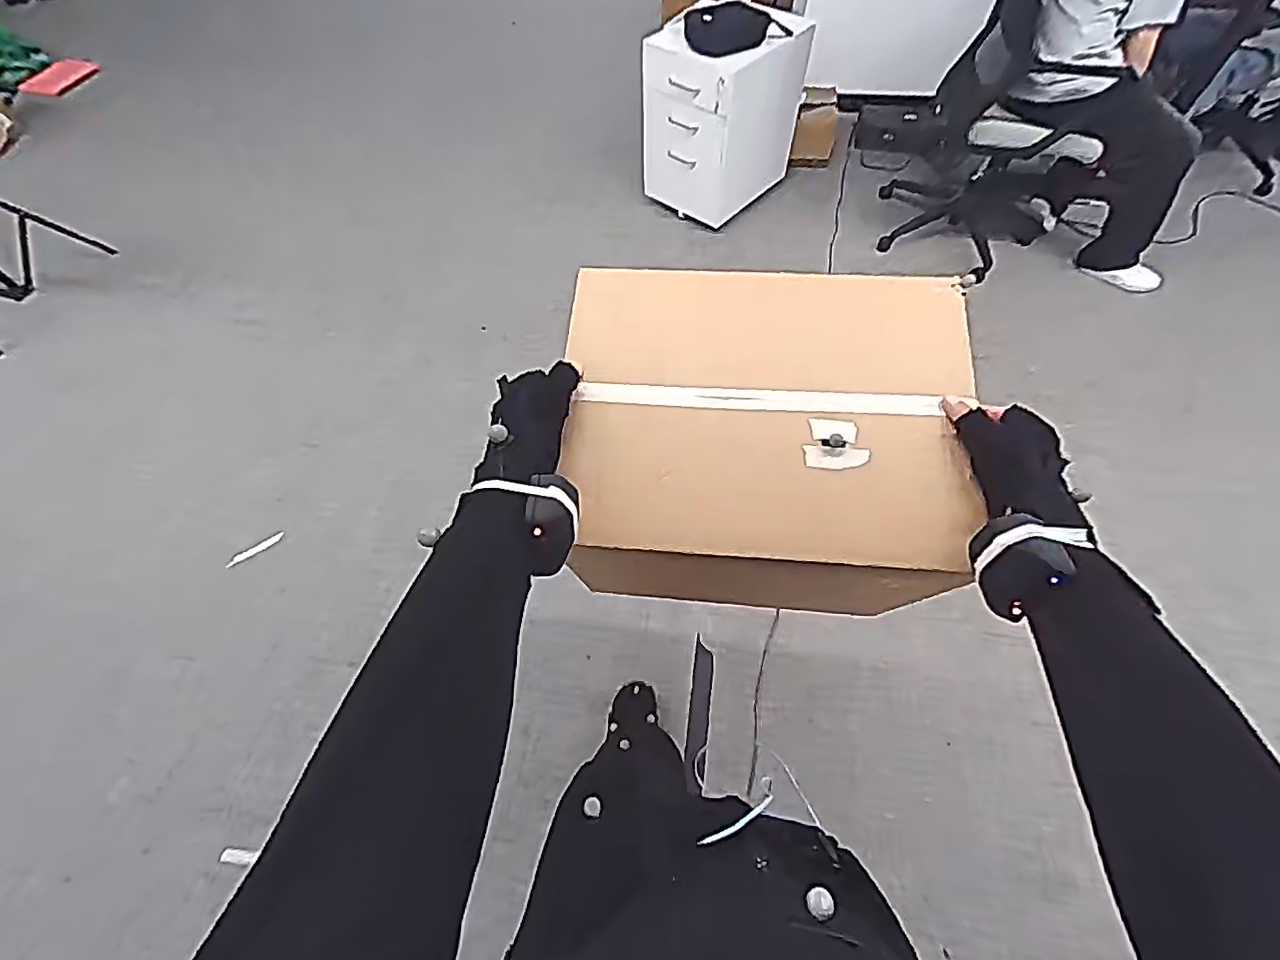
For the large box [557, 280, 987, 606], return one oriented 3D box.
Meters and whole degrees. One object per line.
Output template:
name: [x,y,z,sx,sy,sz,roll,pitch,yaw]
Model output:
large box: [0.135,-0.025,0.689,0.408,0.320,0.320,4,71,5]
